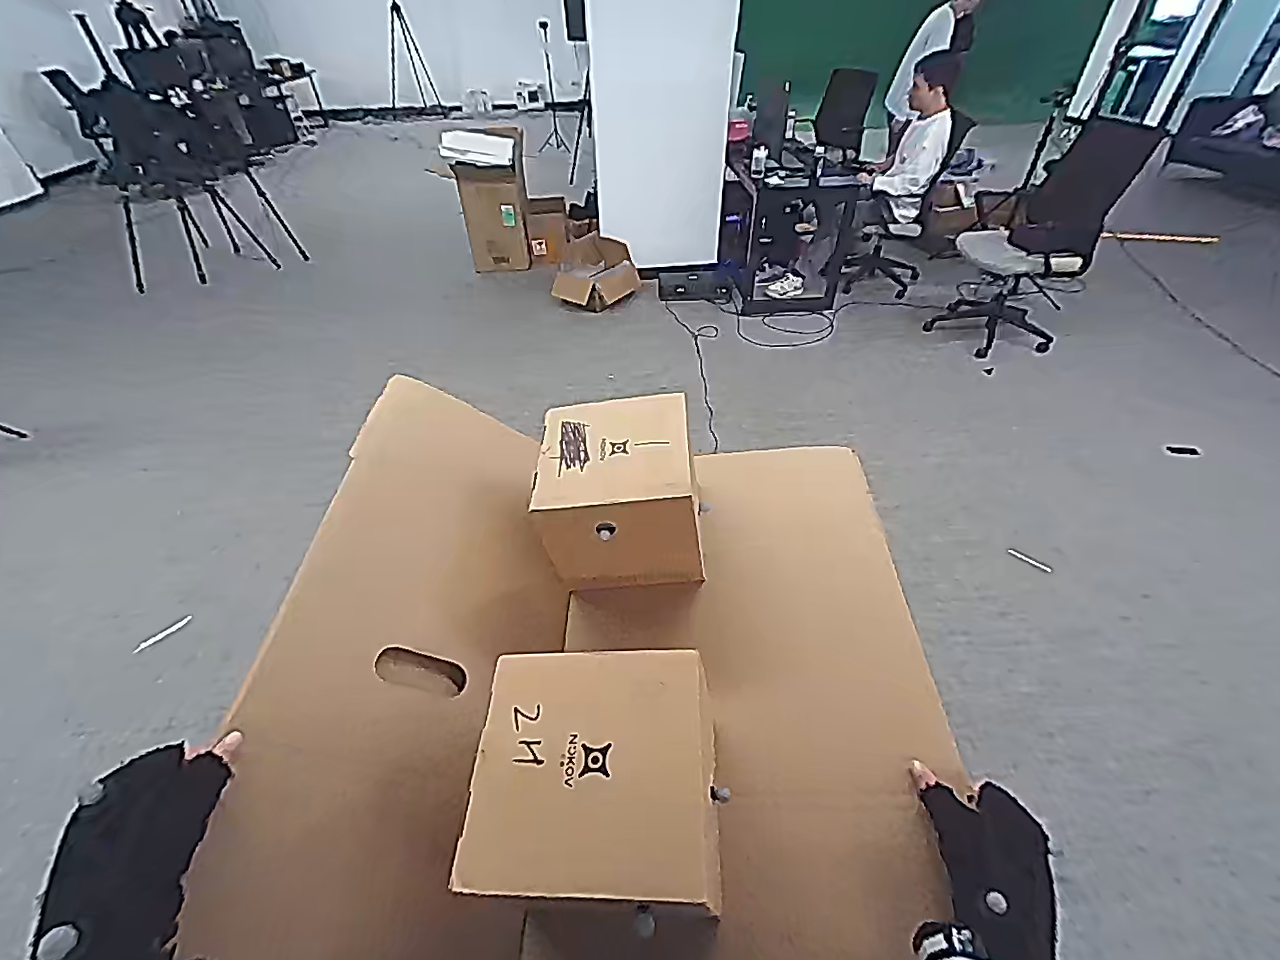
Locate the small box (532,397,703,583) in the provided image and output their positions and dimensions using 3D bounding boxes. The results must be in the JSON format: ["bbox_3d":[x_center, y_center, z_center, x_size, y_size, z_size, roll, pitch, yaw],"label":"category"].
[{"bbox_3d":[-0.018,0.019,0.686,0.179,0.176,0.168,-5,48,7],"label":"small box"}]

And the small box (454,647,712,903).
[{"bbox_3d":[-0.027,0.259,0.475,0.179,0.176,0.168,-4,48,10],"label":"small box"}]
